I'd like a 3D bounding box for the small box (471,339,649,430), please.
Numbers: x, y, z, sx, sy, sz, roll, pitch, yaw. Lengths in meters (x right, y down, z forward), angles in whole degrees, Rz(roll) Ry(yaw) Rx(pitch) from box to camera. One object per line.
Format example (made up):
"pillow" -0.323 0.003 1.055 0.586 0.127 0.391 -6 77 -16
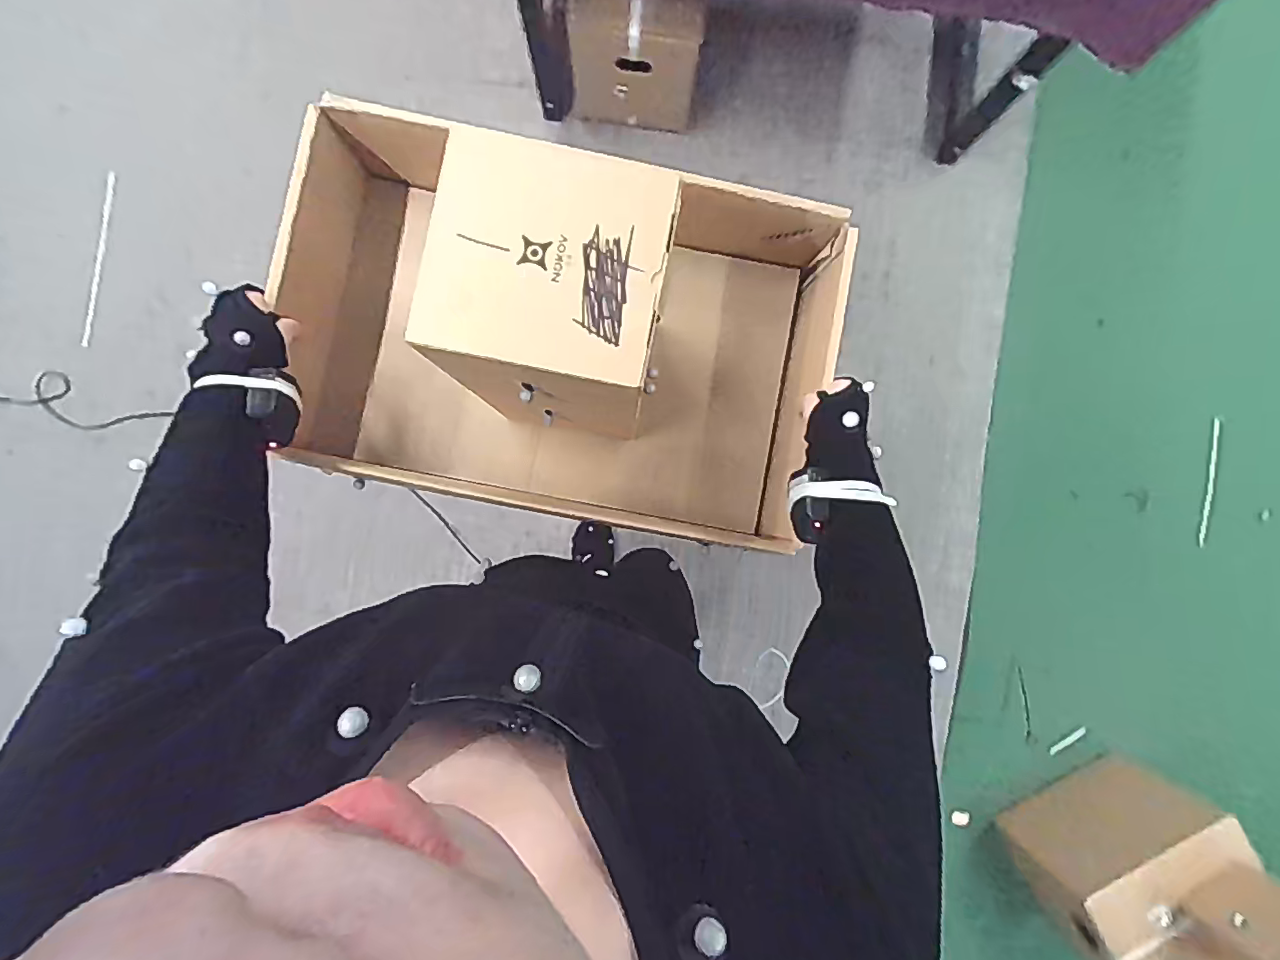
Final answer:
"small box" -0.081 -0.159 0.640 0.179 0.176 0.168 10 88 -2

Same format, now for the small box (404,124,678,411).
"small box" -0.074 -0.163 0.476 0.179 0.176 0.168 11 87 -1
